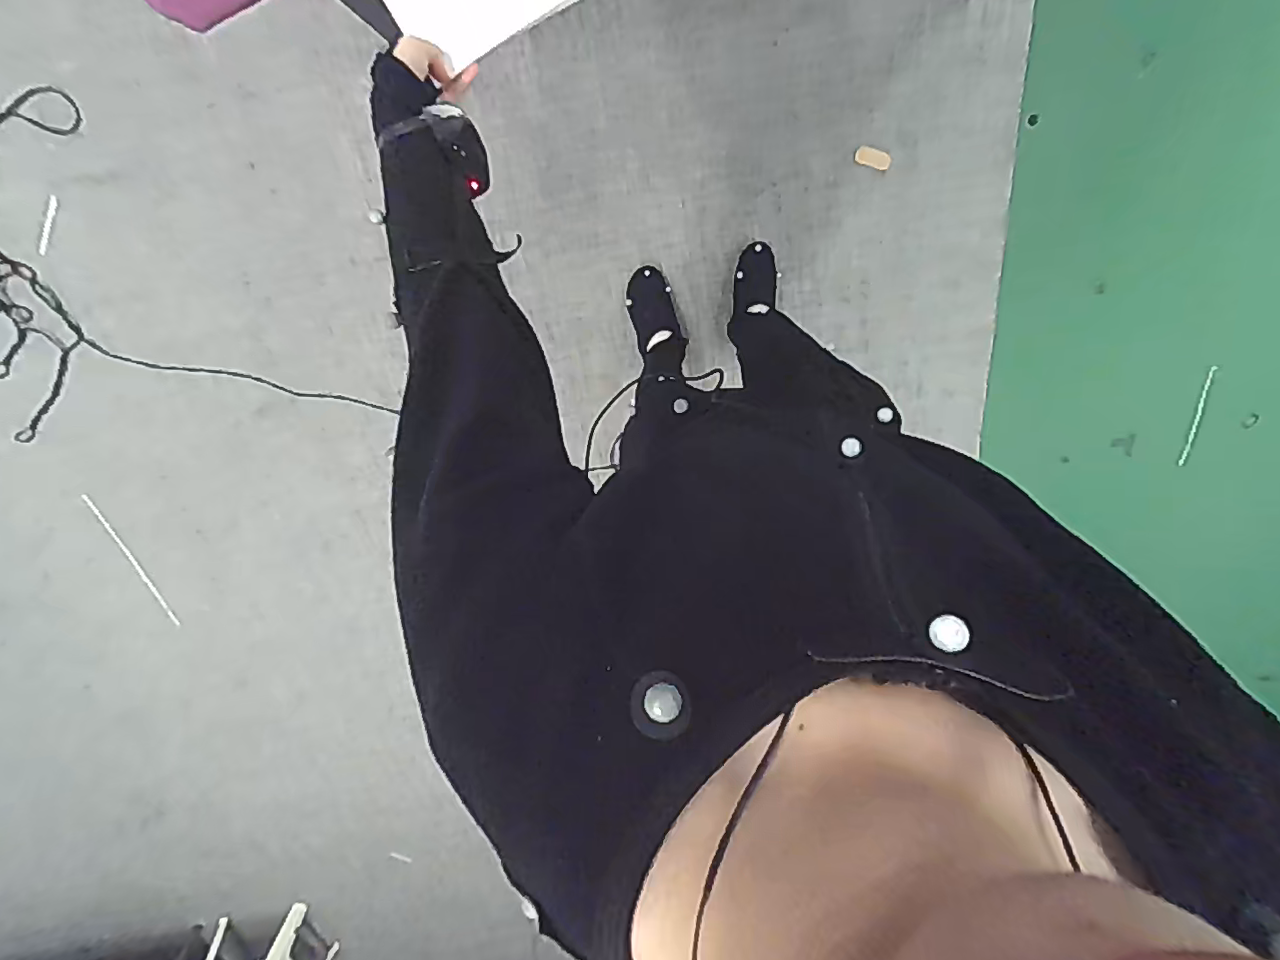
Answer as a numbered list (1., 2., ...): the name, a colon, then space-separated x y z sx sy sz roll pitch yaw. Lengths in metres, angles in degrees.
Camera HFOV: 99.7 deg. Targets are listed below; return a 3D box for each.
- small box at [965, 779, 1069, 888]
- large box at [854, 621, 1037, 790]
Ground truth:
1. small box: 0.990 0.923 1.431 0.168 0.176 0.179 -18 113 4
2. large box: 0.999 0.739 1.797 0.408 0.320 0.320 -23 115 5
